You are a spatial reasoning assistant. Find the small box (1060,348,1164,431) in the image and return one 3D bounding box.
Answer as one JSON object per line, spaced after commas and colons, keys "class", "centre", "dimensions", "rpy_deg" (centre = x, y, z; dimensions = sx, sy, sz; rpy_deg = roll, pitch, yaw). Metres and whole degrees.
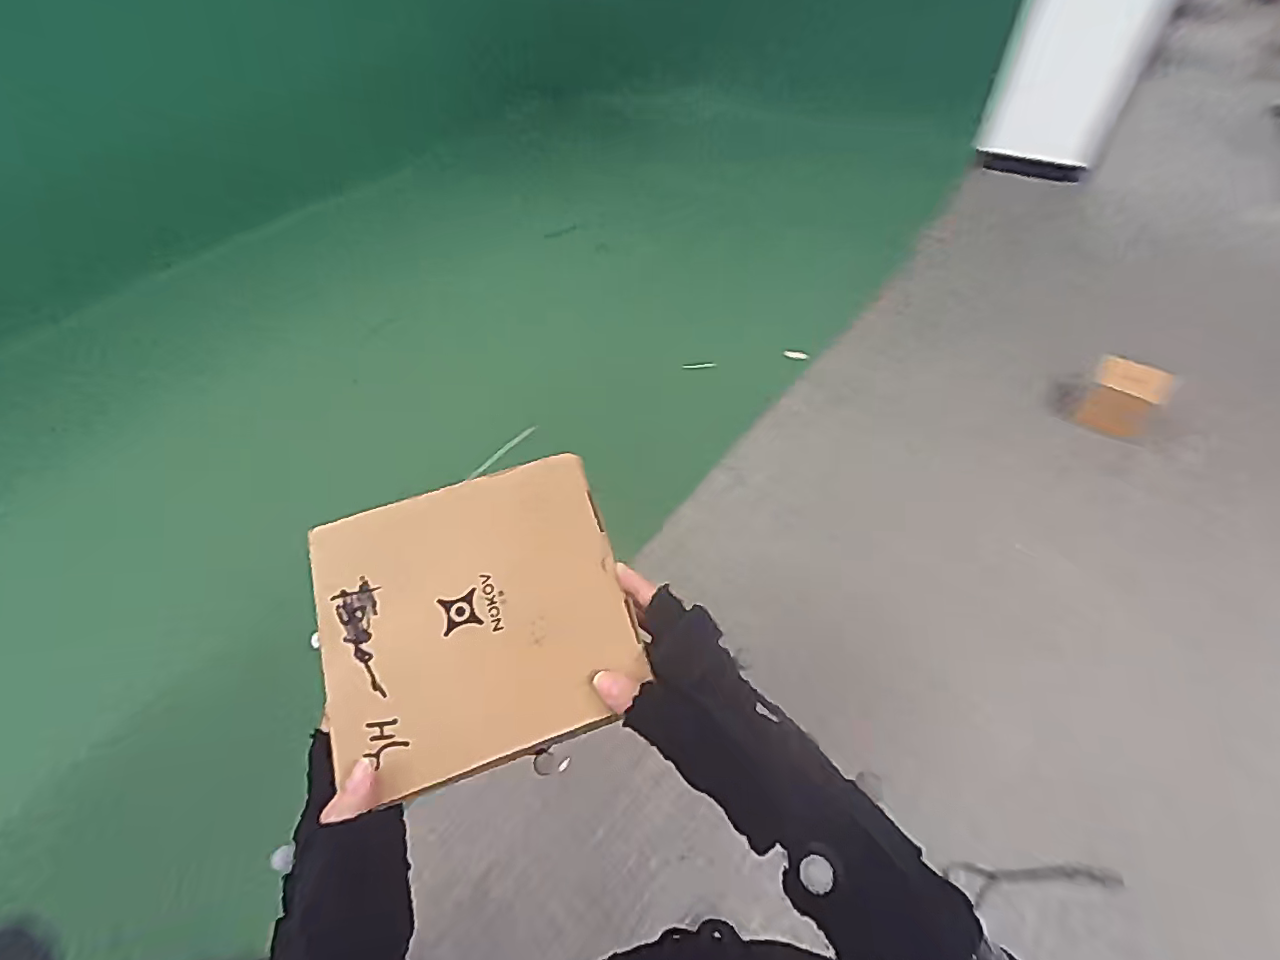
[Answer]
{"class": "small box", "centre": [1.489, -0.282, 1.713], "dimensions": [0.179, 0.176, 0.168], "rpy_deg": [30, 61, 28]}
